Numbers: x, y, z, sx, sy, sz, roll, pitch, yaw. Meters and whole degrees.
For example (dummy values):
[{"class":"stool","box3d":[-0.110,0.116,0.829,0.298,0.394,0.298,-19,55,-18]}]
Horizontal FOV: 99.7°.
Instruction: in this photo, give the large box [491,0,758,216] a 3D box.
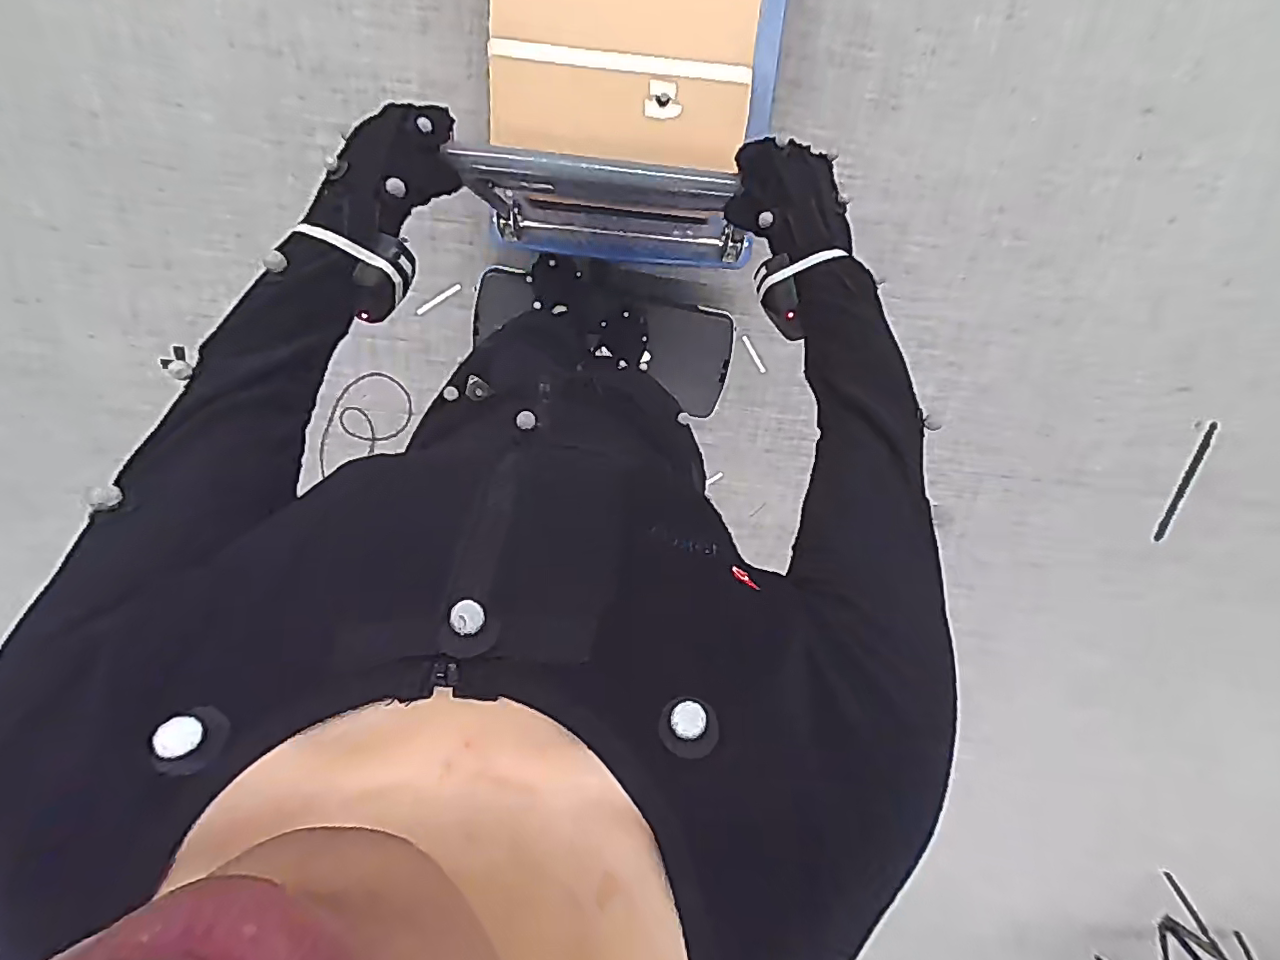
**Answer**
[{"class":"large box","box3d":[-0.035,-0.680,0.970,0.408,0.320,0.320,4,109,-4]}]
